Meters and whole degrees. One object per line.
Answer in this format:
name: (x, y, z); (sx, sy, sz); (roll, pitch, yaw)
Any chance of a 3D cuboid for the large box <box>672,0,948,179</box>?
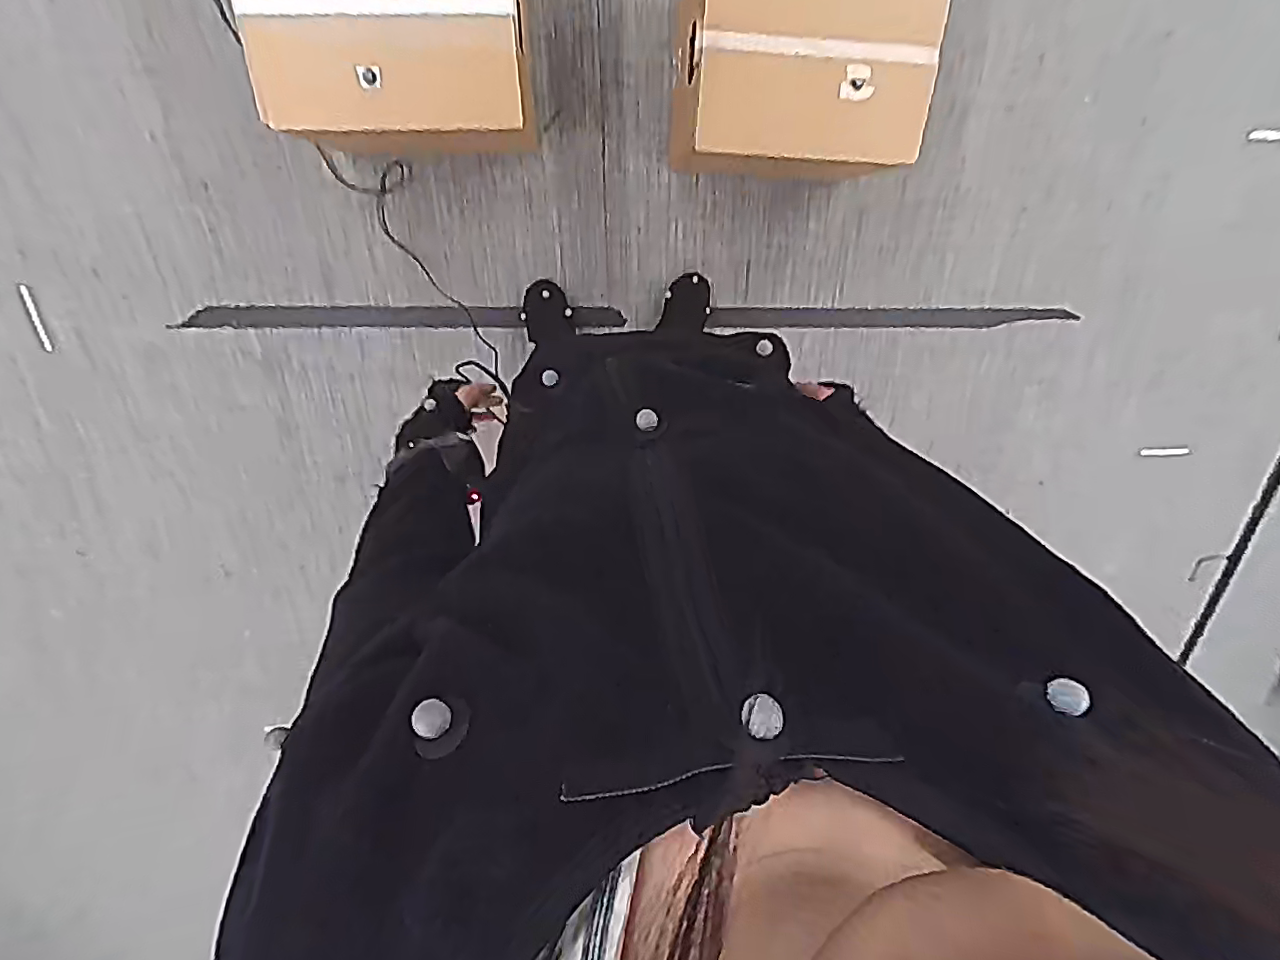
large box: (0.285, -0.771, 1.025); (0.408, 0.320, 0.320); (0, 114, -7)
